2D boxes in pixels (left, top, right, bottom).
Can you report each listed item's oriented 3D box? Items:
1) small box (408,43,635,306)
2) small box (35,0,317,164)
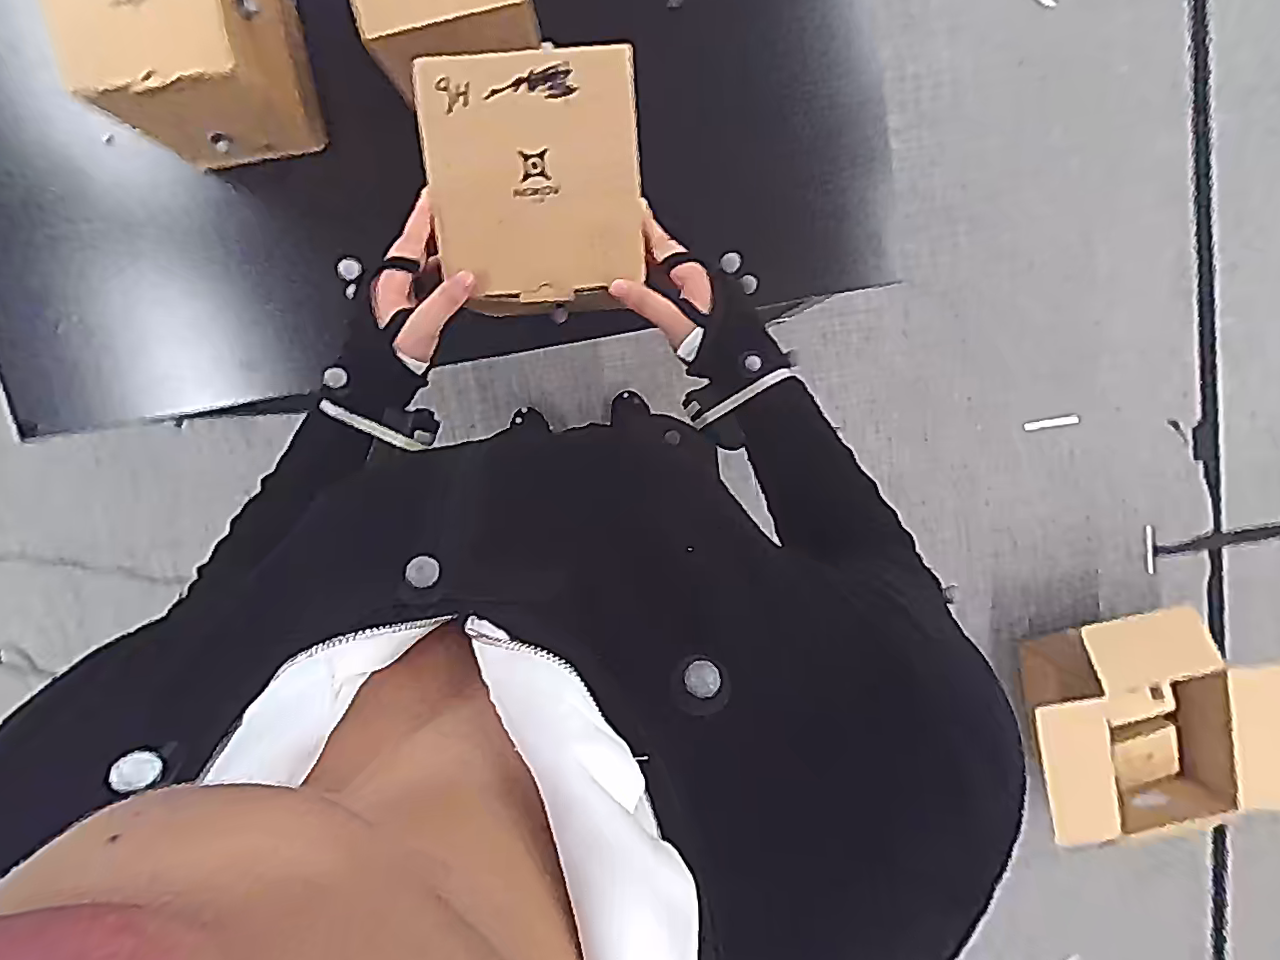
[{"bbox_3d":[-0.090,-0.258,0.501,0.168,0.176,0.179,-4,104,-1],"label":"small box"},{"bbox_3d":[-0.494,-0.483,0.591,0.168,0.176,0.179,-10,99,-1],"label":"small box"}]
